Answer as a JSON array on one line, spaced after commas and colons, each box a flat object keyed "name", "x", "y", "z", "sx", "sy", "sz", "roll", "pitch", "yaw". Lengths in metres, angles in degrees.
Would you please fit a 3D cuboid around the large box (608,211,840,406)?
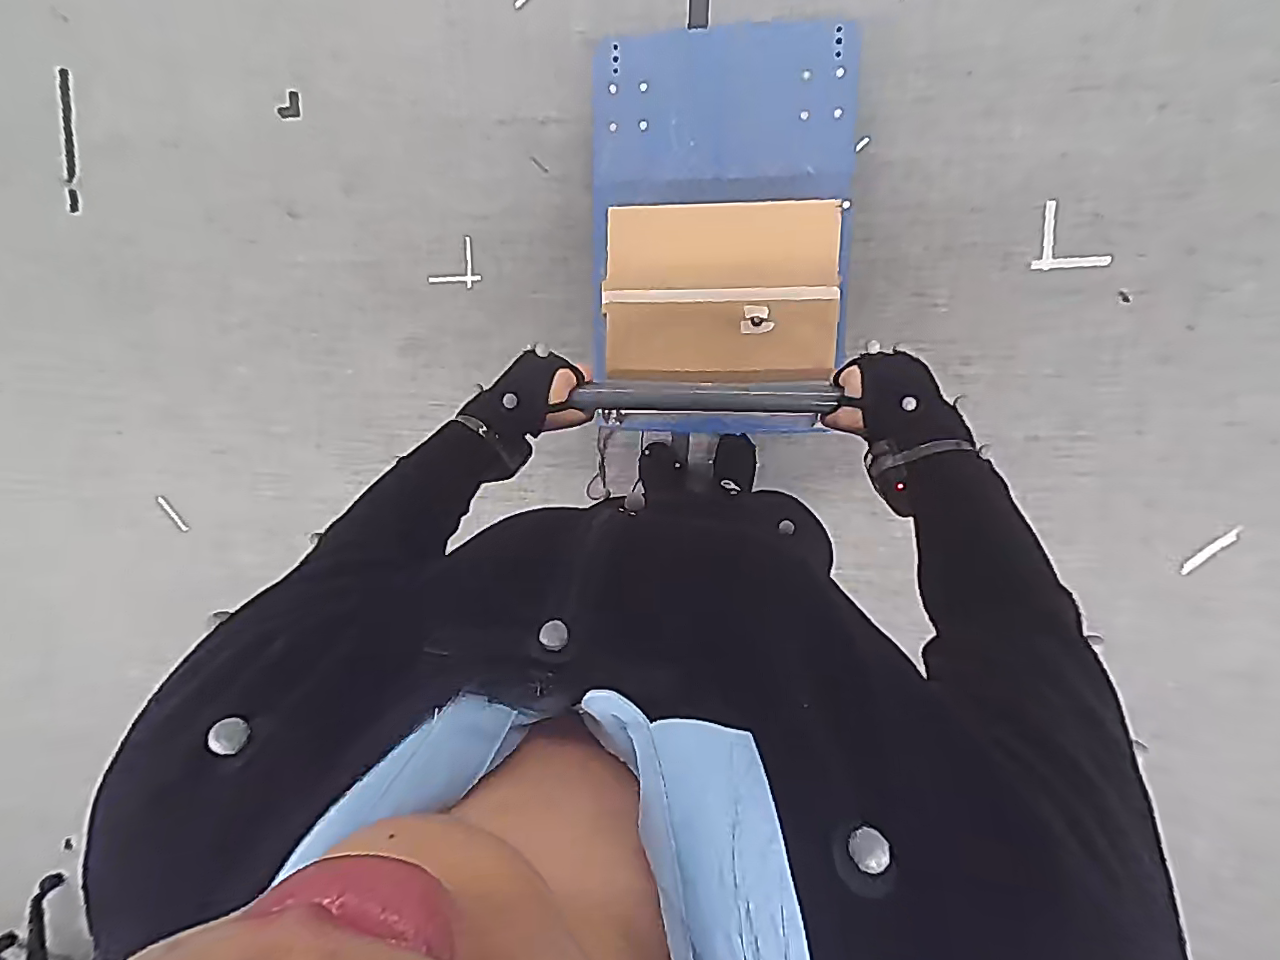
[{"name": "large box", "x": 0.155, "y": -0.315, "z": 1.091, "sx": 0.408, "sy": 0.320, "sz": 0.320, "roll": 1, "pitch": 96, "yaw": 6}]
